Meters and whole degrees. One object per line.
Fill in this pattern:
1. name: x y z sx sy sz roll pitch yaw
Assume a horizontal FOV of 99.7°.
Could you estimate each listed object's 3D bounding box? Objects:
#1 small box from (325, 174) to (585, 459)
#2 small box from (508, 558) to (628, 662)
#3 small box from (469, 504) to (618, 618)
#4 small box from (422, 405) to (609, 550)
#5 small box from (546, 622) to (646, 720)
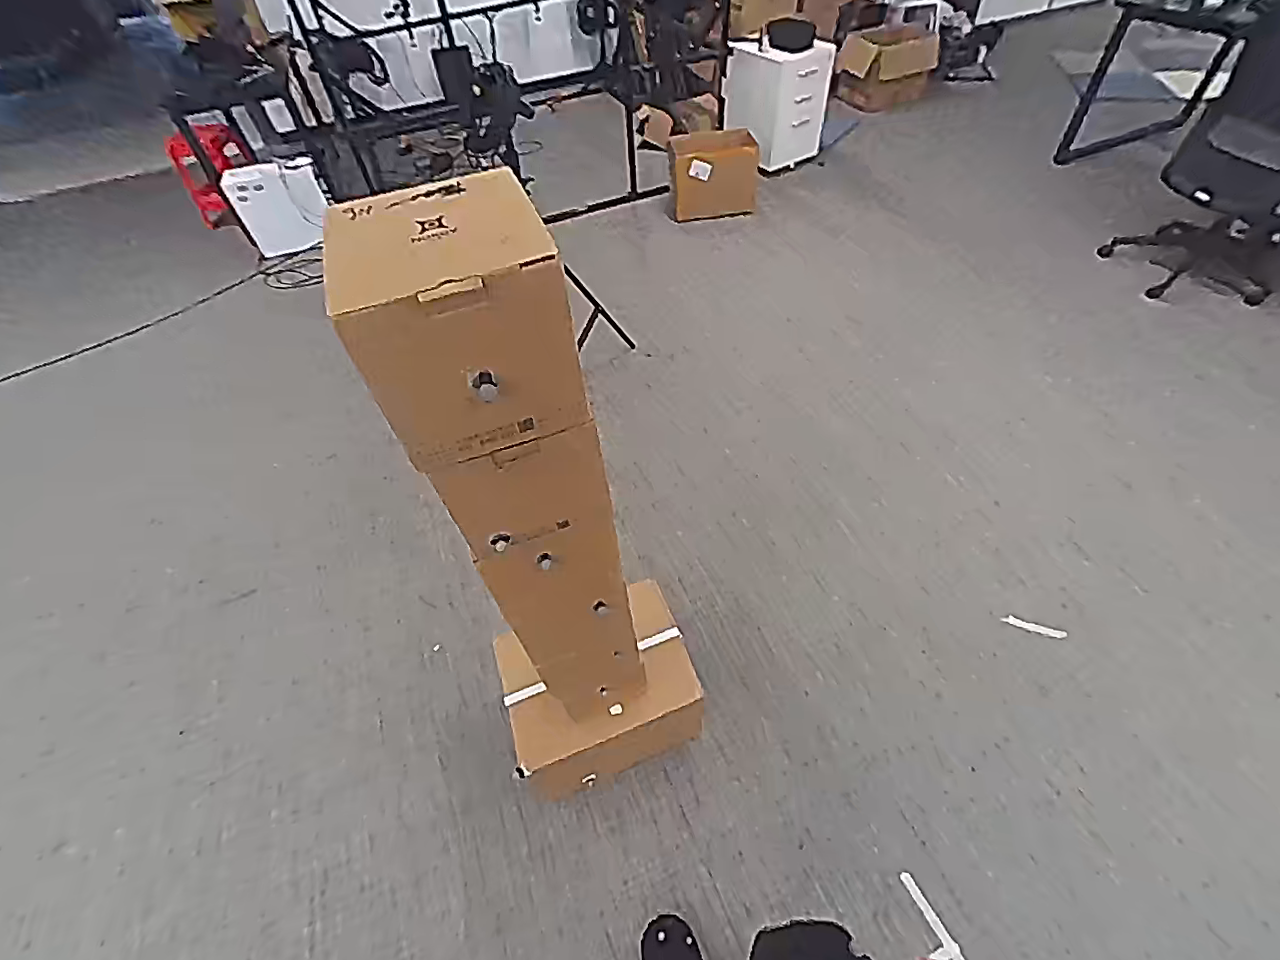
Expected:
1. small box: -0.158 -0.139 0.490 0.168 0.176 0.179 -19 54 -10
2. small box: -0.123 0.165 0.872 0.179 0.176 0.168 -18 52 -10
3. small box: -0.134 0.064 0.747 0.179 0.176 0.168 -18 53 -9
4. small box: -0.142 -0.041 0.620 0.168 0.176 0.179 -18 52 -9
5. small box: -0.098 0.371 1.127 0.179 0.176 0.168 -21 53 -13
